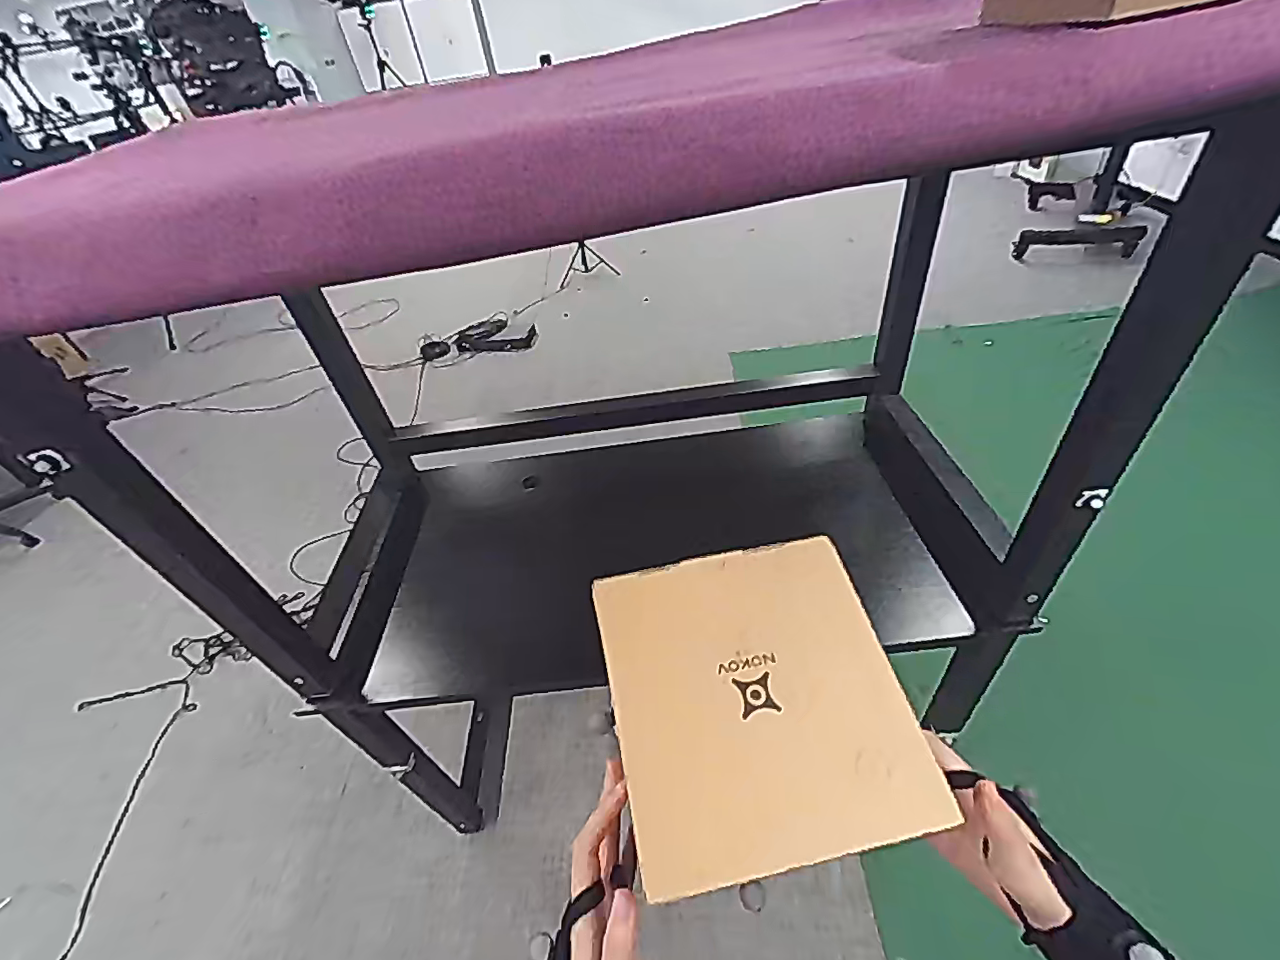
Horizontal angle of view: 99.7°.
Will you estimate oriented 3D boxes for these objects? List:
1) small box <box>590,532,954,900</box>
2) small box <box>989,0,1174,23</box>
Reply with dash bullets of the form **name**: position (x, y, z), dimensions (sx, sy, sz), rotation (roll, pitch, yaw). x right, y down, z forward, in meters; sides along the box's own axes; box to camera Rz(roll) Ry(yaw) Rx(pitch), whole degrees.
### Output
- **small box**: position (0.067, 0.165, 0.376), dimensions (0.168, 0.176, 0.179), rotation (-11, 51, -6)
- **small box**: position (0.406, -0.467, 0.404), dimensions (0.168, 0.176, 0.179), rotation (-8, 39, 2)
